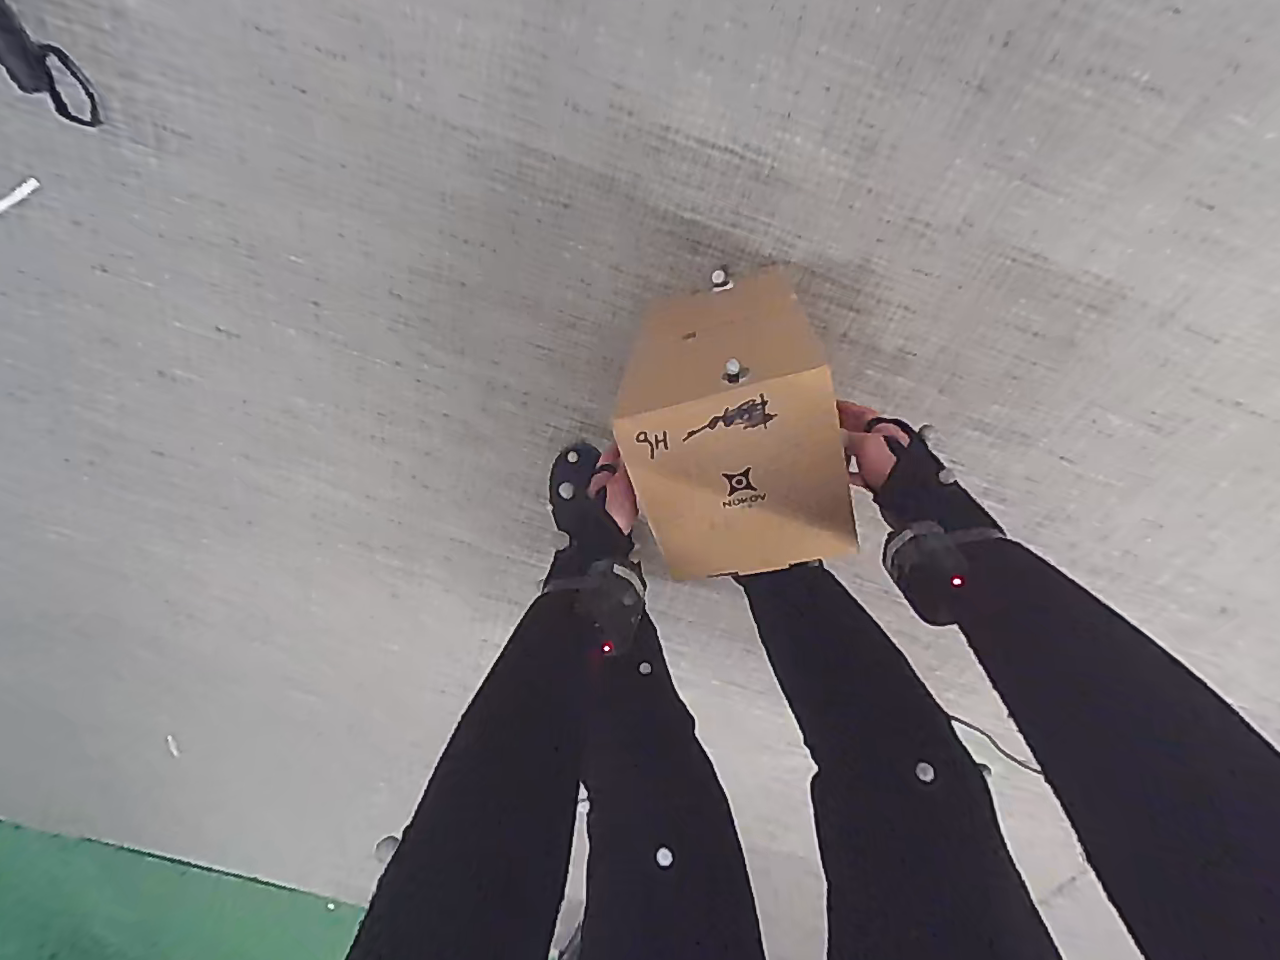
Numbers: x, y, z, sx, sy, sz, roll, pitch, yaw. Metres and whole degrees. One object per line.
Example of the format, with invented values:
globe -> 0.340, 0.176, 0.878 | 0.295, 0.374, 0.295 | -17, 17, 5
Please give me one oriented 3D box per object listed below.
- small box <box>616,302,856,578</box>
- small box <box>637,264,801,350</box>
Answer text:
small box -> 0.092, -0.039, 0.502 | 0.168, 0.176, 0.179 | -13, 122, 15
small box -> 0.108, -0.131, 0.639 | 0.168, 0.176, 0.179 | -13, 119, 15
